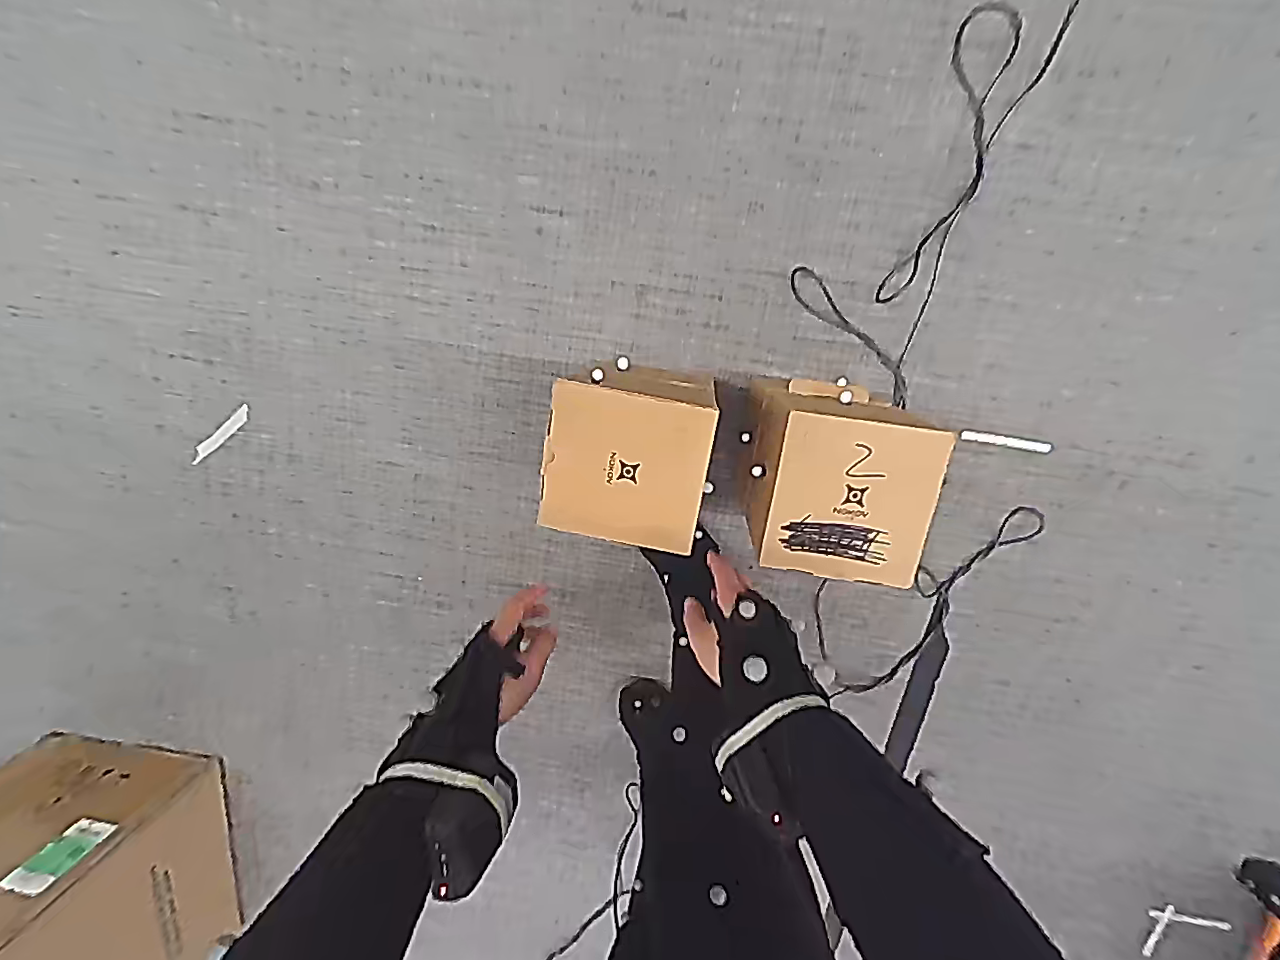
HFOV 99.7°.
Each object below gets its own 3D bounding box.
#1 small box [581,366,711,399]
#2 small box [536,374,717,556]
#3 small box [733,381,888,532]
[{"bbox_3d":[0.005,-0.074,0.807,0.179,0.176,0.168,10,107,4],"label":"small box"},{"bbox_3d":[-0.010,-0.029,0.652,0.179,0.176,0.168,11,106,4],"label":"small box"},{"bbox_3d":[0.235,-0.044,0.794,0.168,0.176,0.179,8,107,3],"label":"small box"}]
